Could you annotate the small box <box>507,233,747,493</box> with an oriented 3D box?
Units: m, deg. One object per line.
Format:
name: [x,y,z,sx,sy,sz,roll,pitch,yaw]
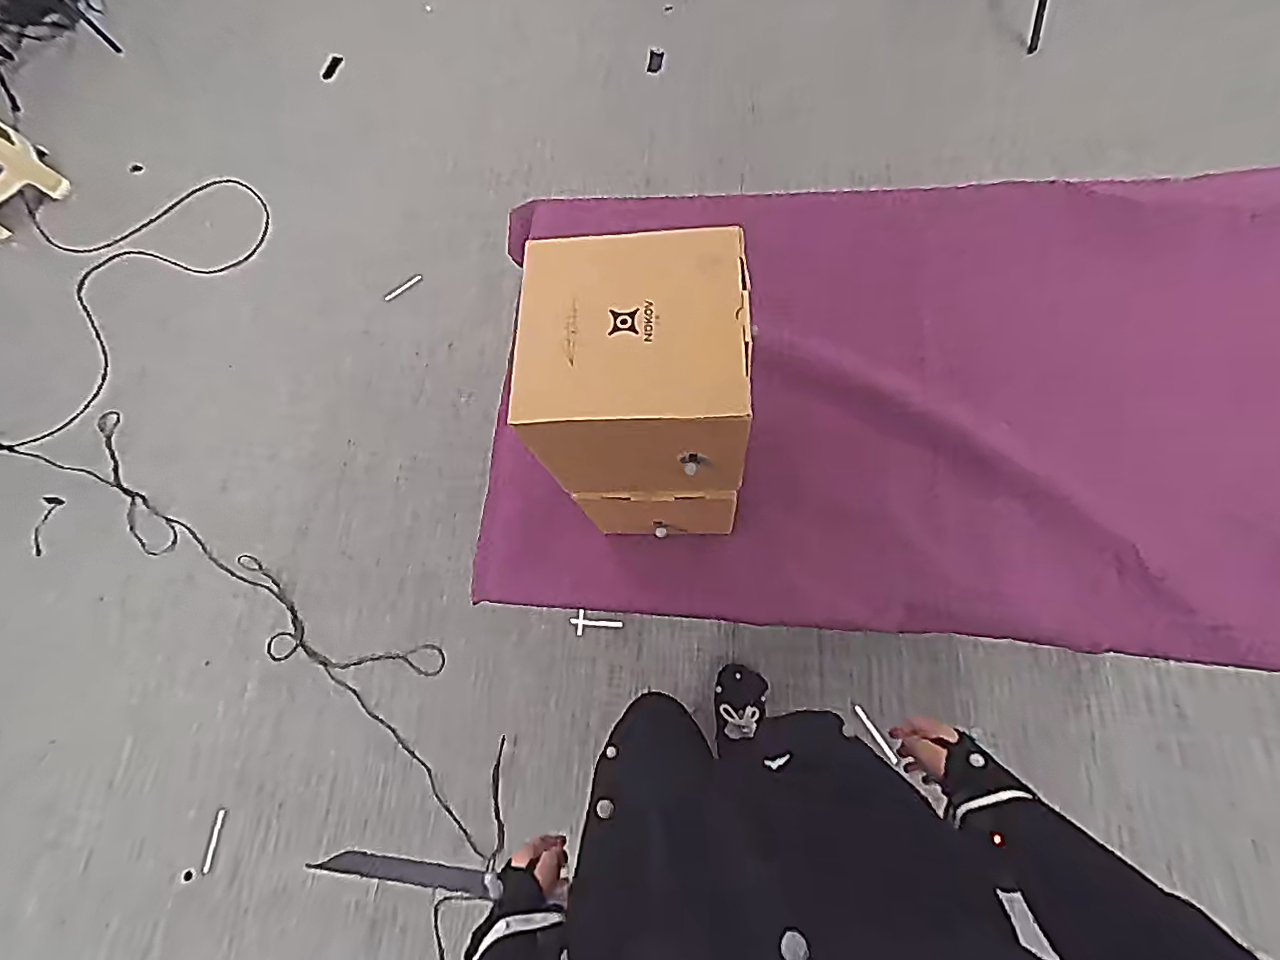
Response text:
small box: [0.000,-0.090,0.486,0.179,0.176,0.168,-2,71,8]

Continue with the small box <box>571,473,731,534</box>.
small box: [0.021,-0.041,0.639,0.168,0.176,0.179,0,73,8]
